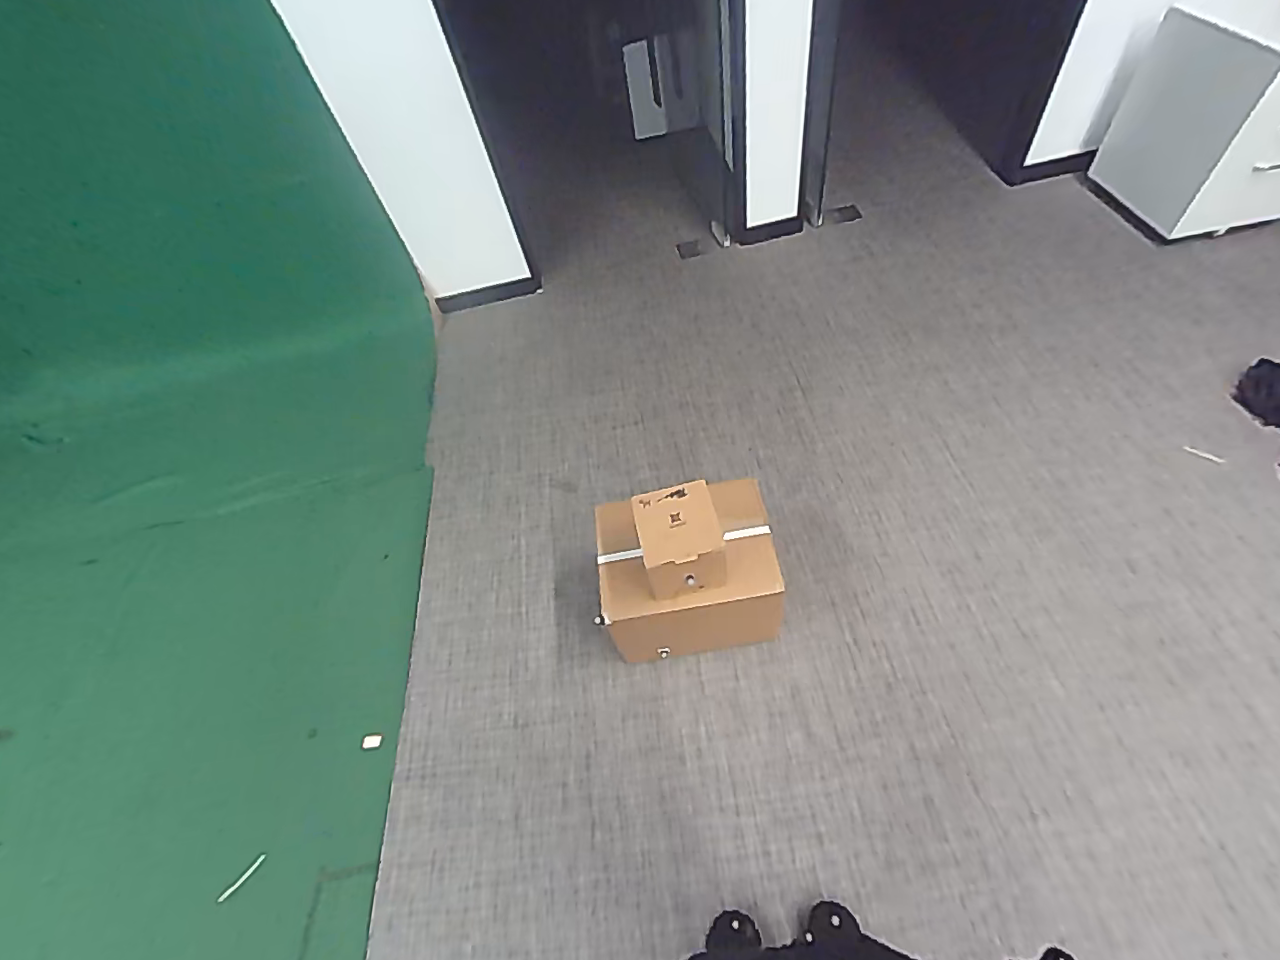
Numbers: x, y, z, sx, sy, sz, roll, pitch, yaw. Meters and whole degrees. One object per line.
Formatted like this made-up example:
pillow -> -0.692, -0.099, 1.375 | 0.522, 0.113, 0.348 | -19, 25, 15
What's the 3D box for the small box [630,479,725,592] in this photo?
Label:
small box -> 0.083, 0.128, 1.172 | 0.168, 0.176, 0.179 | -13, 55, 2
